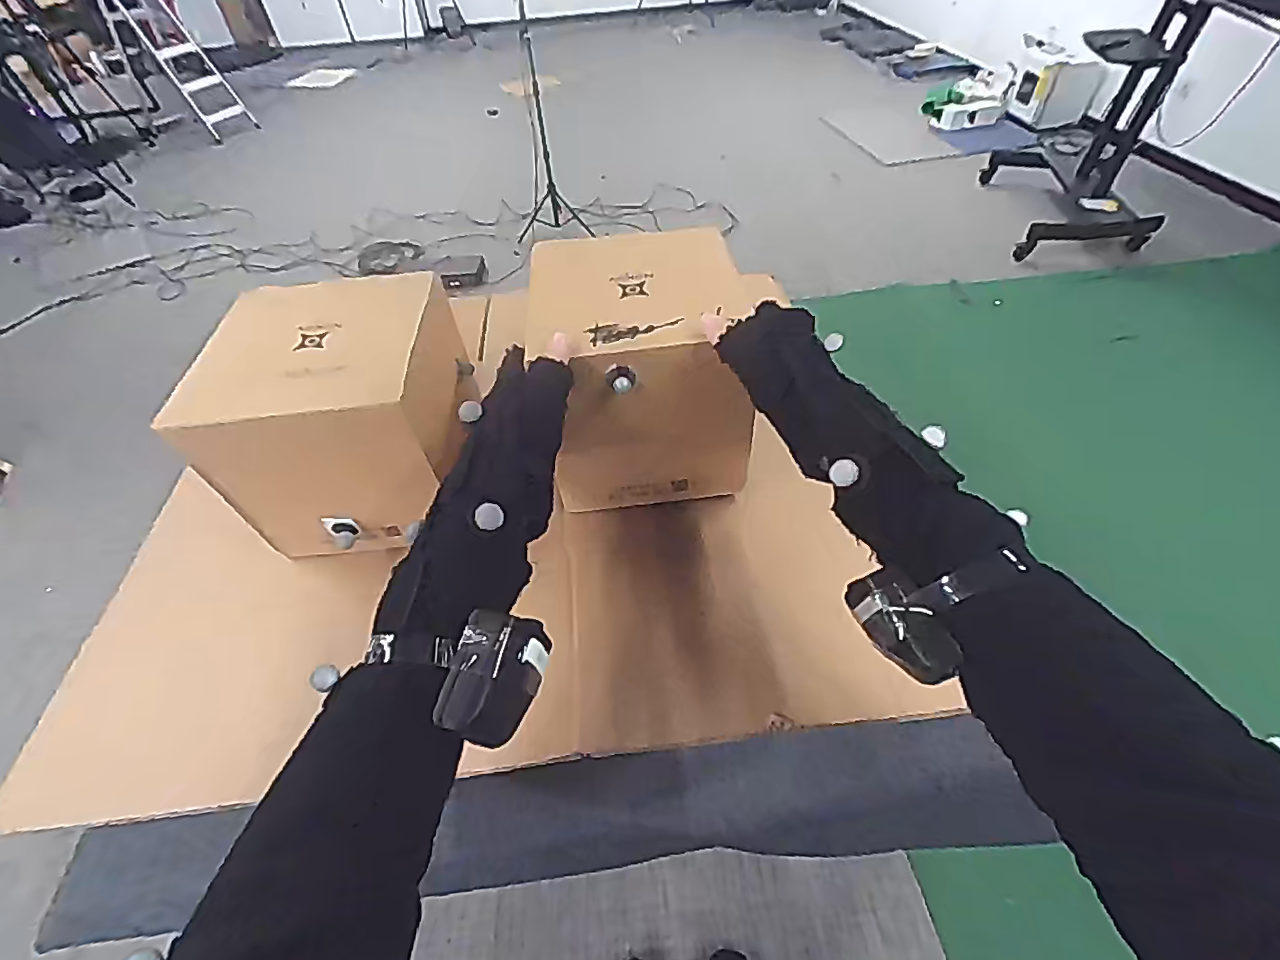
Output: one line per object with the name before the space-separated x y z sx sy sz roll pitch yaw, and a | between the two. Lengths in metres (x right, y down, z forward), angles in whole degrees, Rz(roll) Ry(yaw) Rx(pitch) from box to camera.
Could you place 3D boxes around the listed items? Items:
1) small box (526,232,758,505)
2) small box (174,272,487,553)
small box | 0.000 -0.100 0.490 0.168 0.176 0.179 -6 48 0
small box | -0.243 -0.058 0.484 0.168 0.176 0.179 -7 51 -2
